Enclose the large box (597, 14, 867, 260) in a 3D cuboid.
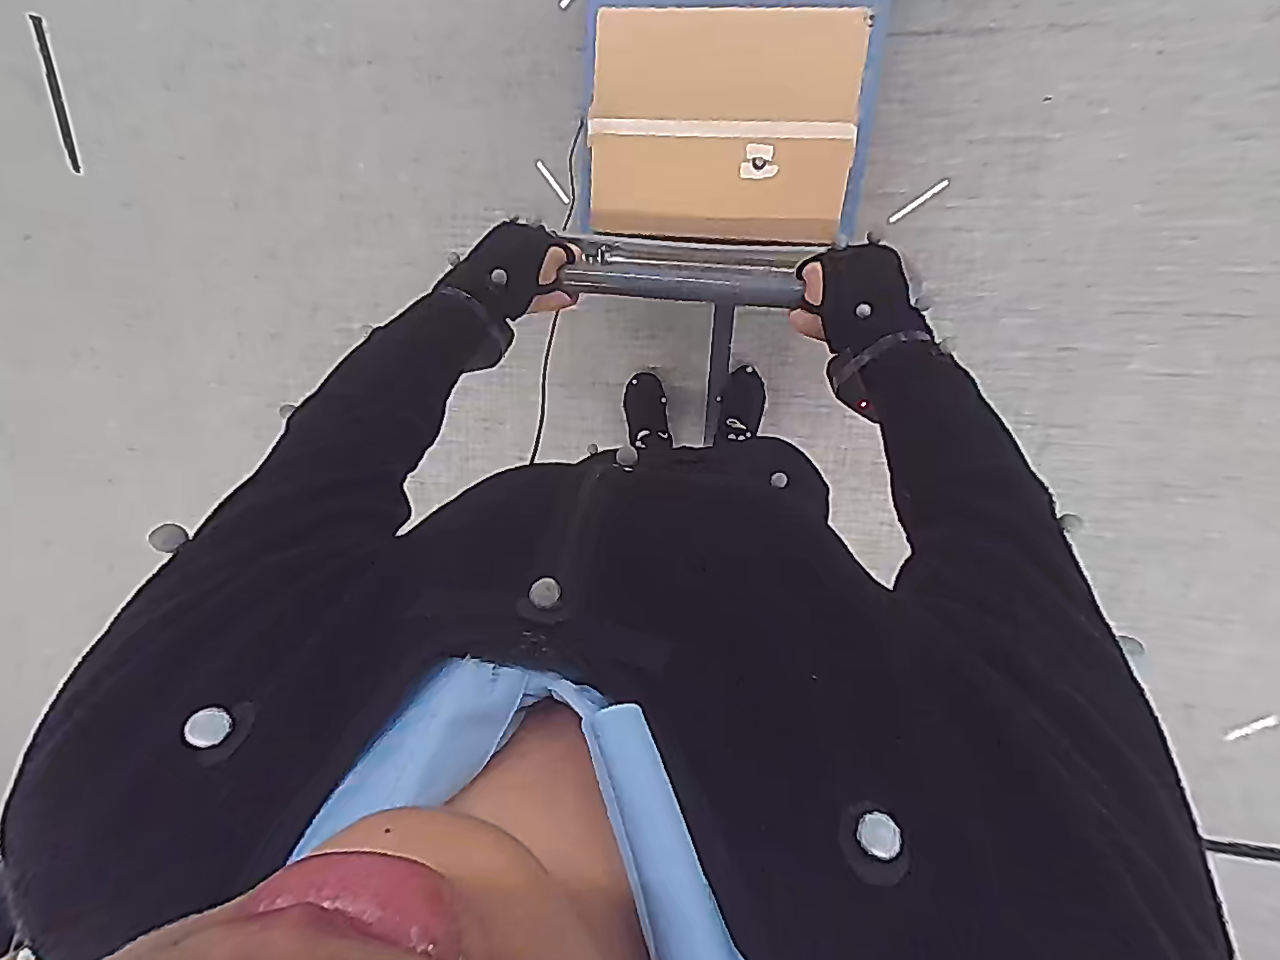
[{"bbox_3d":[0.148,-0.591,0.995,0.408,0.320,0.320,6,108,7],"label":"large box"}]
